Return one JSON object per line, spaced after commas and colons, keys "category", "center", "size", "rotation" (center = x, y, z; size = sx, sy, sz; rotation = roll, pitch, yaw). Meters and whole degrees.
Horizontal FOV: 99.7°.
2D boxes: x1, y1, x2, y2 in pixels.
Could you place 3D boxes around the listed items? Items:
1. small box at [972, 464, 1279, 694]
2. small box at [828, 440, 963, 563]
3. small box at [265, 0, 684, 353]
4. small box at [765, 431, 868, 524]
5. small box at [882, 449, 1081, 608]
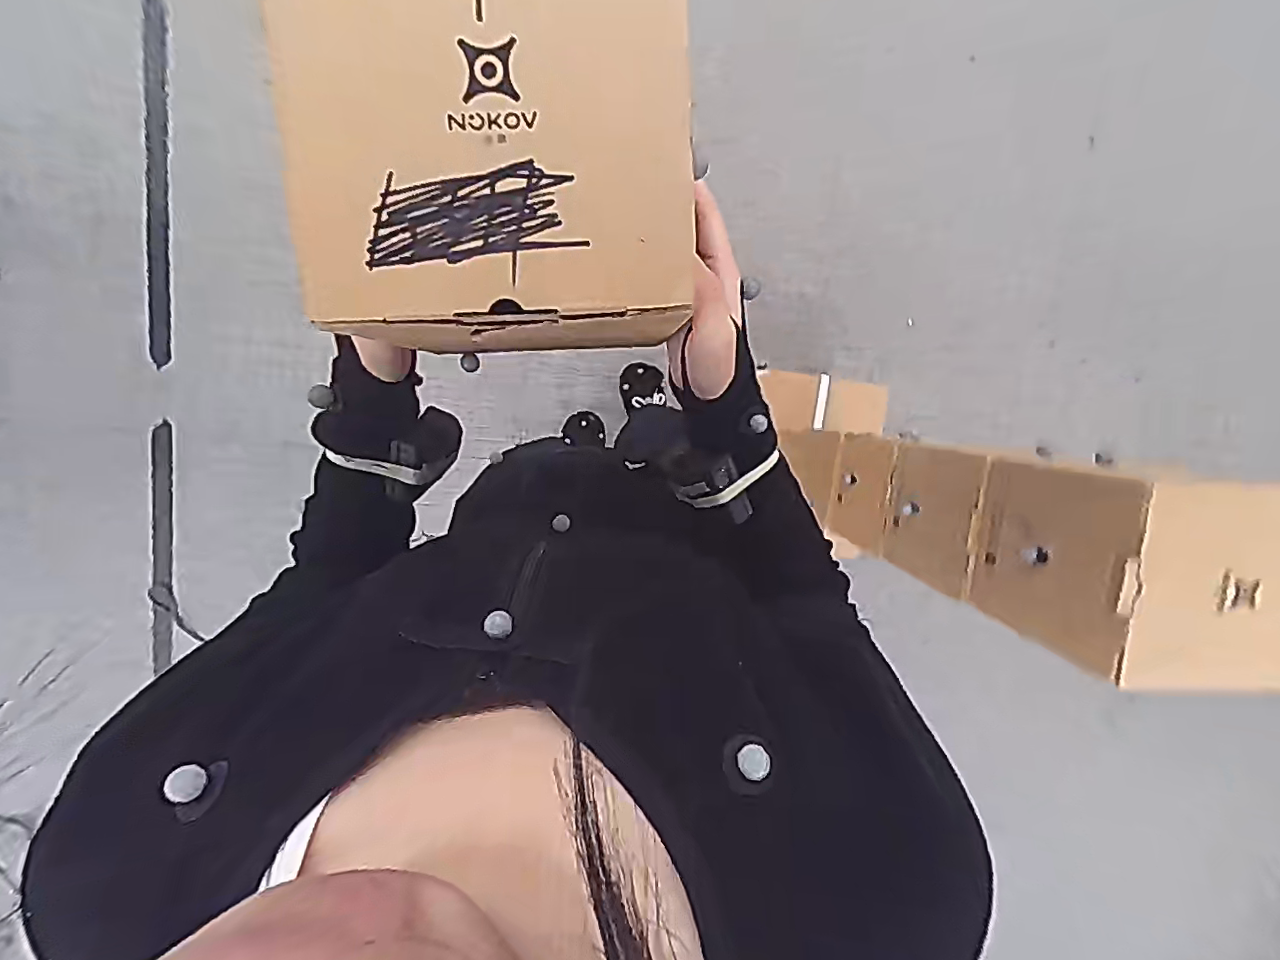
{"category": "small box", "center": [0.451, 0.078, 0.504], "size": [0.179, 0.176, 0.168], "rotation": [3, 98, -4]}
{"category": "small box", "center": [0.415, 0.030, 0.827], "size": [0.179, 0.176, 0.168], "rotation": [5, 98, -5]}
{"category": "small box", "center": [-0.068, -0.166, 0.302], "size": [0.168, 0.176, 0.179], "rotation": [-4, 98, -3]}
{"category": "small box", "center": [0.374, -0.009, 1.149], "size": [0.168, 0.176, 0.179], "rotation": [4, 99, -5]}
{"category": "small box", "center": [0.432, 0.053, 0.665], "size": [0.179, 0.176, 0.168], "rotation": [4, 97, -4]}
